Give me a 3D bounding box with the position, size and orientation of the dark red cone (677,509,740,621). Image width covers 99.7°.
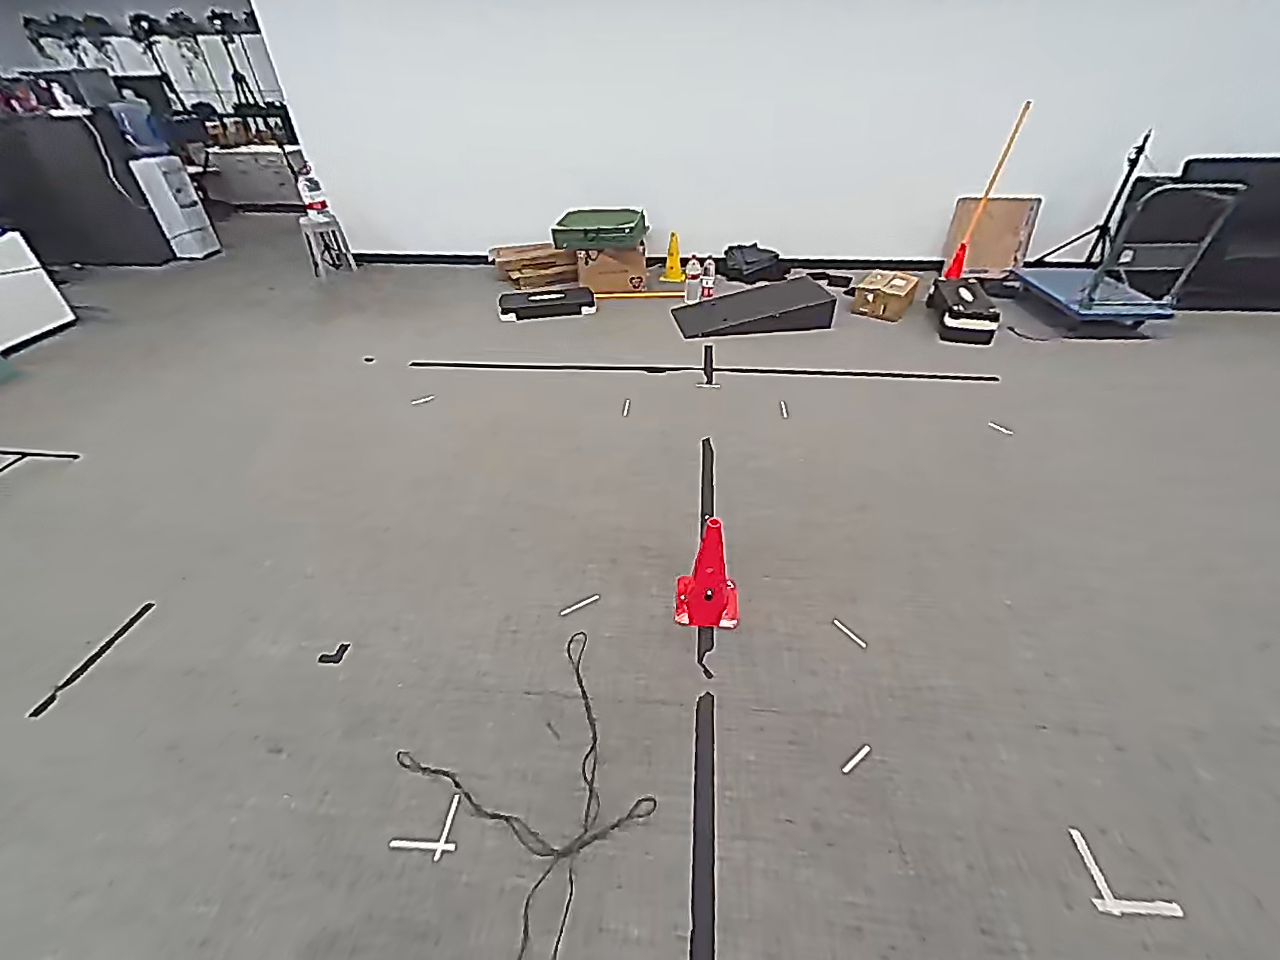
[{"bbox_3d":[0.218,0.245,1.661,0.201,0.394,0.202,2,38,5],"label":"dark red cone"}]
